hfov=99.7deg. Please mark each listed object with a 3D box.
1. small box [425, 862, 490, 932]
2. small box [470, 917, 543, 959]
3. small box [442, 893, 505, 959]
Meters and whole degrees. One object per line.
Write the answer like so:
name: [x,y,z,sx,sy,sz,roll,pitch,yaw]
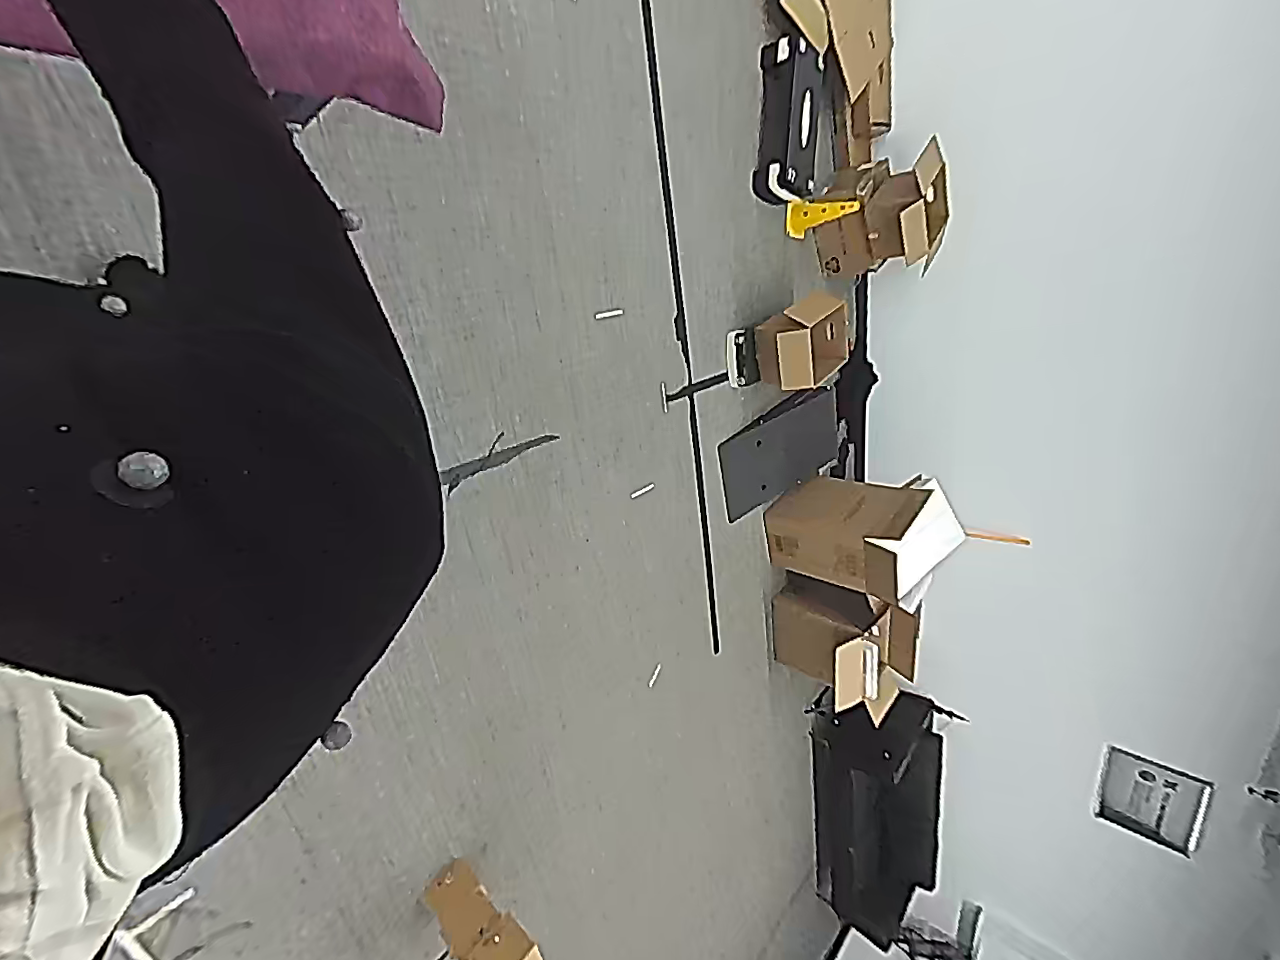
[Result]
small box: [-0.666,1.576,2.006,0.168,0.176,0.179,-32,121,-39]
small box: [-0.429,1.606,1.780,0.168,0.176,0.179,-30,119,-41]
small box: [-0.556,1.609,1.889,0.179,0.176,0.168,-33,122,-38]
